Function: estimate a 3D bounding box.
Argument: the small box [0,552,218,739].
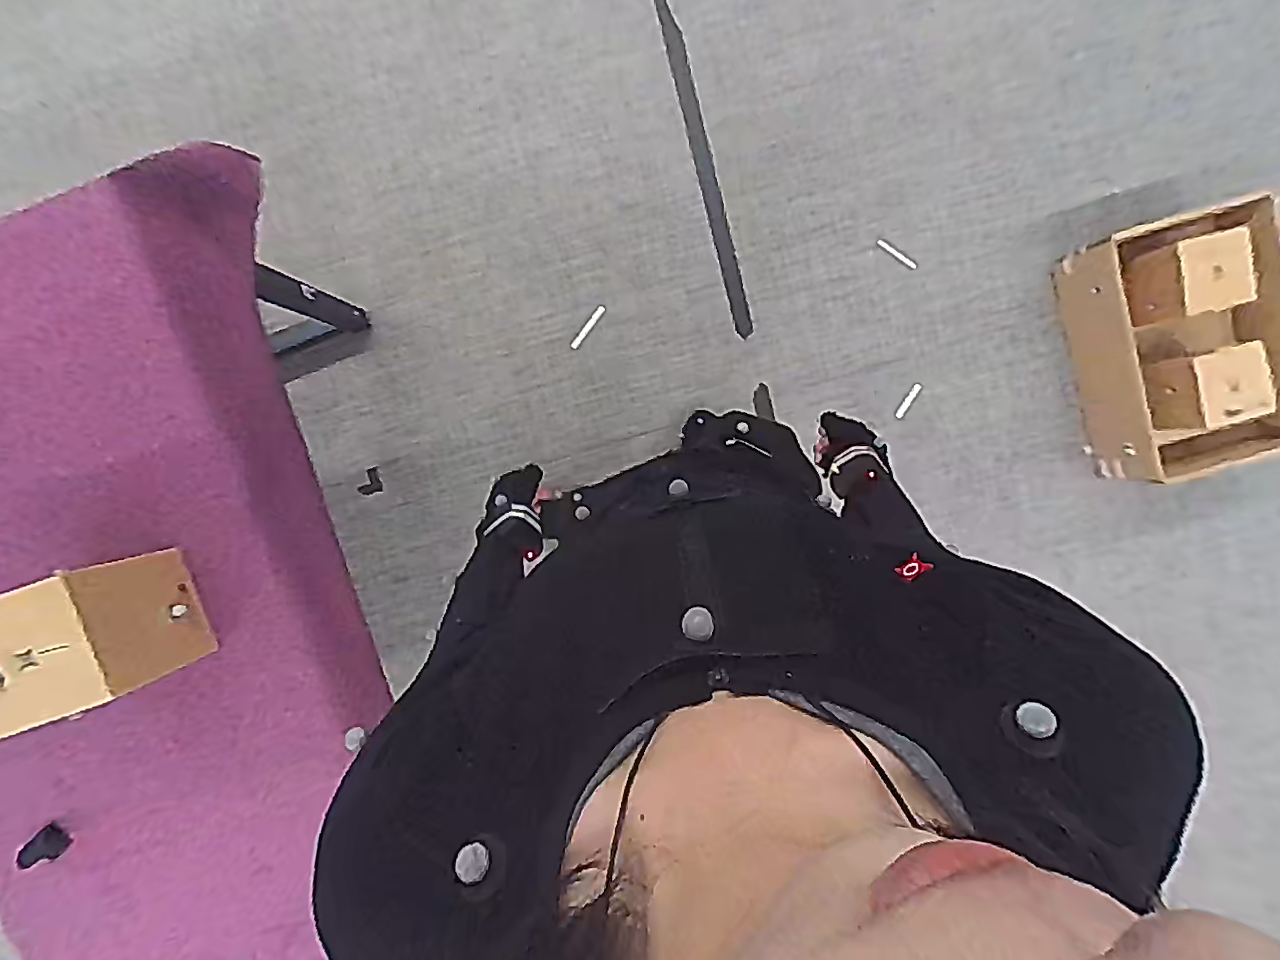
[{"bbox_3d":[-0.734,0.211,0.729,0.179,0.176,0.168,-19,94,2],"label":"small box"}]

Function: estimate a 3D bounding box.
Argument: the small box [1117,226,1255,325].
[{"bbox_3d":[1.336,-0.492,1.334,0.168,0.176,0.179,-13,94,2],"label":"small box"}]

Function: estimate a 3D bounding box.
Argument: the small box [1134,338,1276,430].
[{"bbox_3d":[1.398,-0.232,1.352,0.168,0.176,0.179,-15,92,3],"label":"small box"}]
